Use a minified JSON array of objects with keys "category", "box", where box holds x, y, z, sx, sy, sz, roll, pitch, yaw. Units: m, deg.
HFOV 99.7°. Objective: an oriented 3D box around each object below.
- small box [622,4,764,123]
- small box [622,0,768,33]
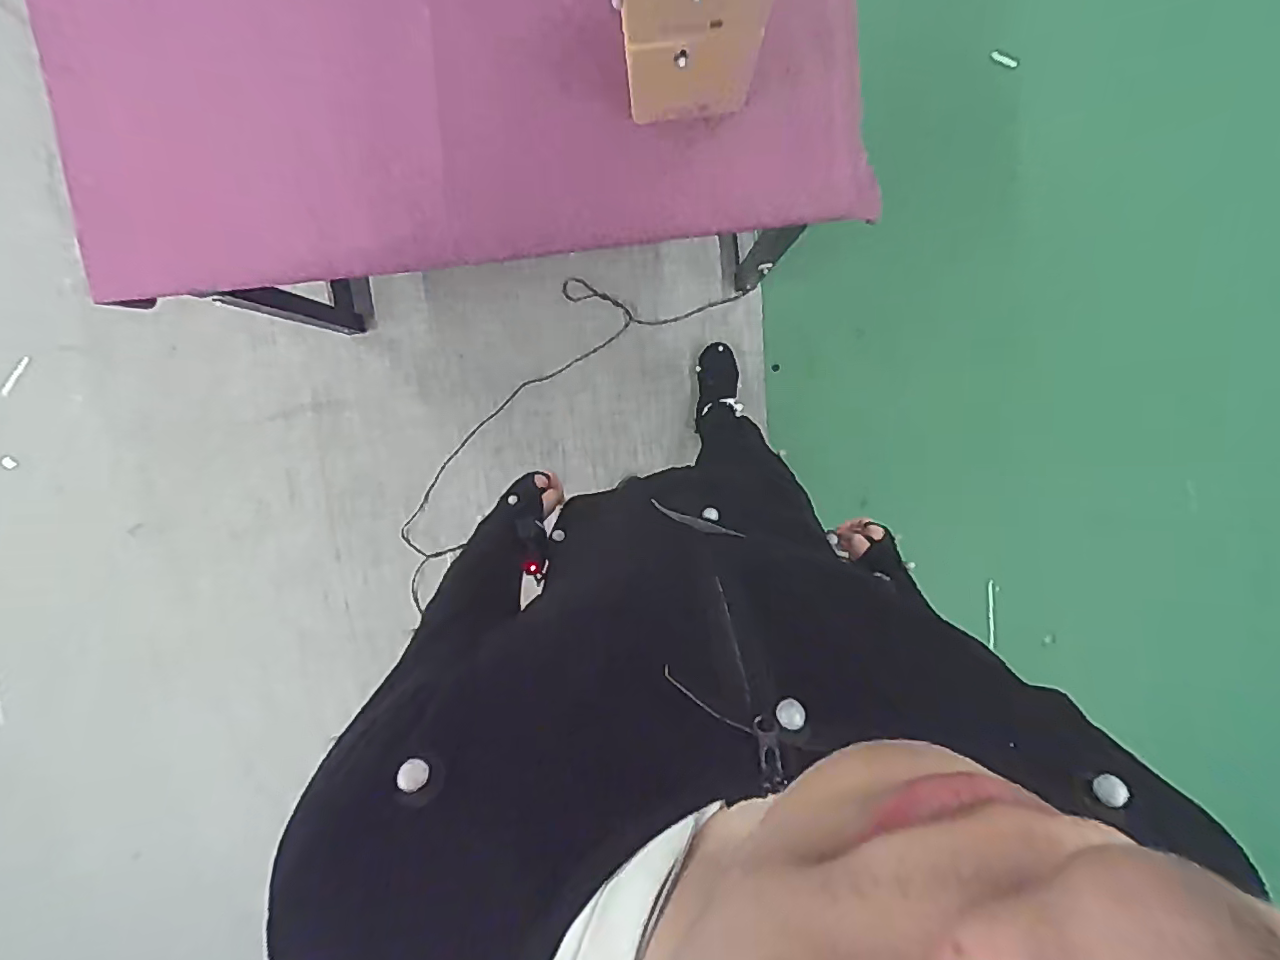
[{"category":"small box","box":[0.061,-0.616,0.715,0.168,0.176,0.179,-6,96,3]},{"category":"small box","box":[0.057,-0.599,0.550,0.168,0.176,0.179,-5,97,1]}]
